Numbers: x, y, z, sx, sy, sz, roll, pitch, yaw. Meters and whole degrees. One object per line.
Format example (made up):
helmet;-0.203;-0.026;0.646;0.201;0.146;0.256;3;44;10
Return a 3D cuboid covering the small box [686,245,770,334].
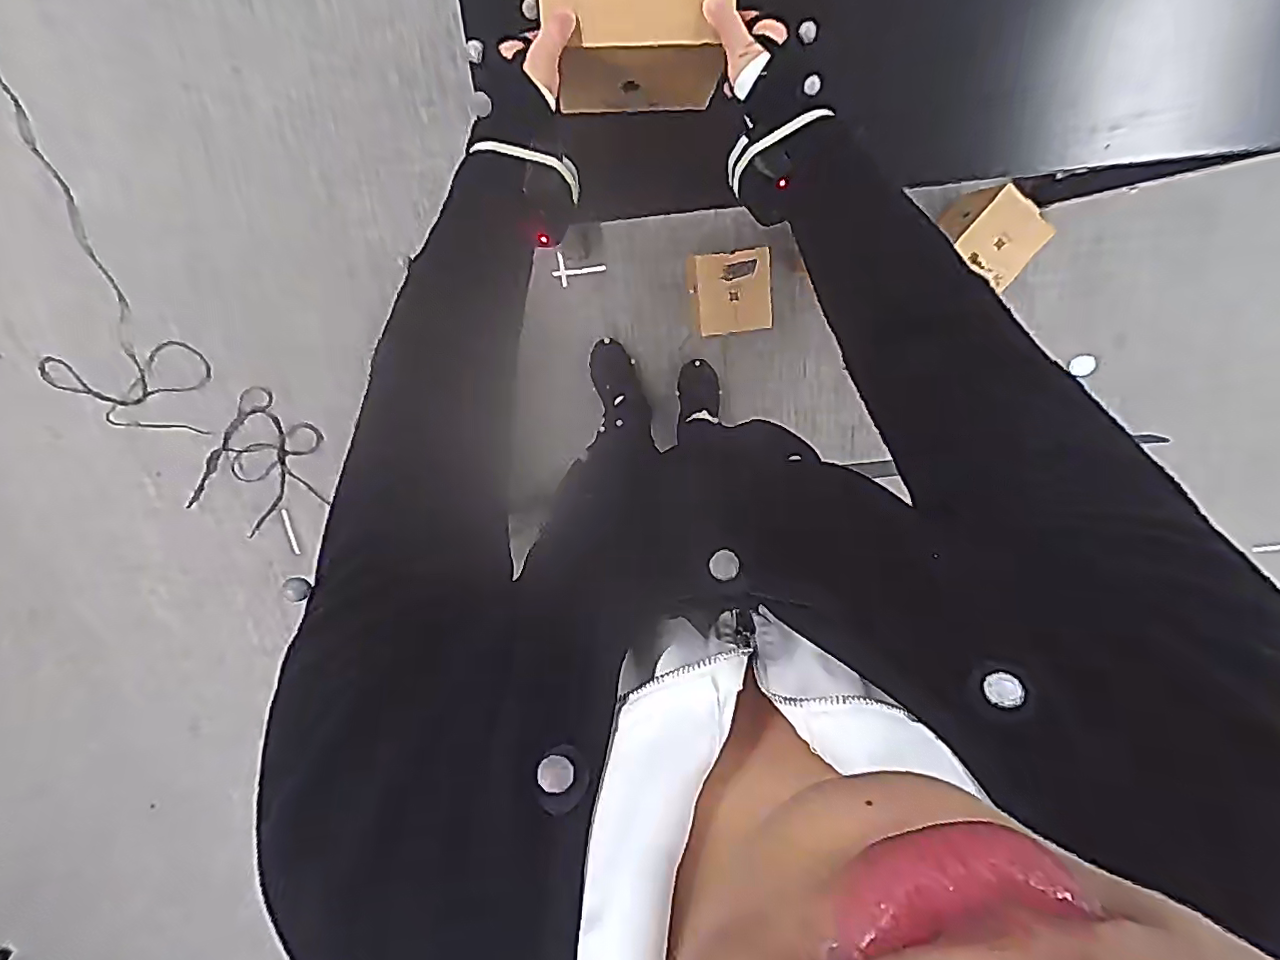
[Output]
small box;0.206;-0.451;1.290;0.168;0.176;0.179;-7;110;1

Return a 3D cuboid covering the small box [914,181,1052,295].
small box;0.794;-0.559;1.272;0.168;0.176;0.179;36;104;-12

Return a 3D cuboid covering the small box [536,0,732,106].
small box;-0.008;-0.473;0.506;0.168;0.176;0.179;-3;108;-2
